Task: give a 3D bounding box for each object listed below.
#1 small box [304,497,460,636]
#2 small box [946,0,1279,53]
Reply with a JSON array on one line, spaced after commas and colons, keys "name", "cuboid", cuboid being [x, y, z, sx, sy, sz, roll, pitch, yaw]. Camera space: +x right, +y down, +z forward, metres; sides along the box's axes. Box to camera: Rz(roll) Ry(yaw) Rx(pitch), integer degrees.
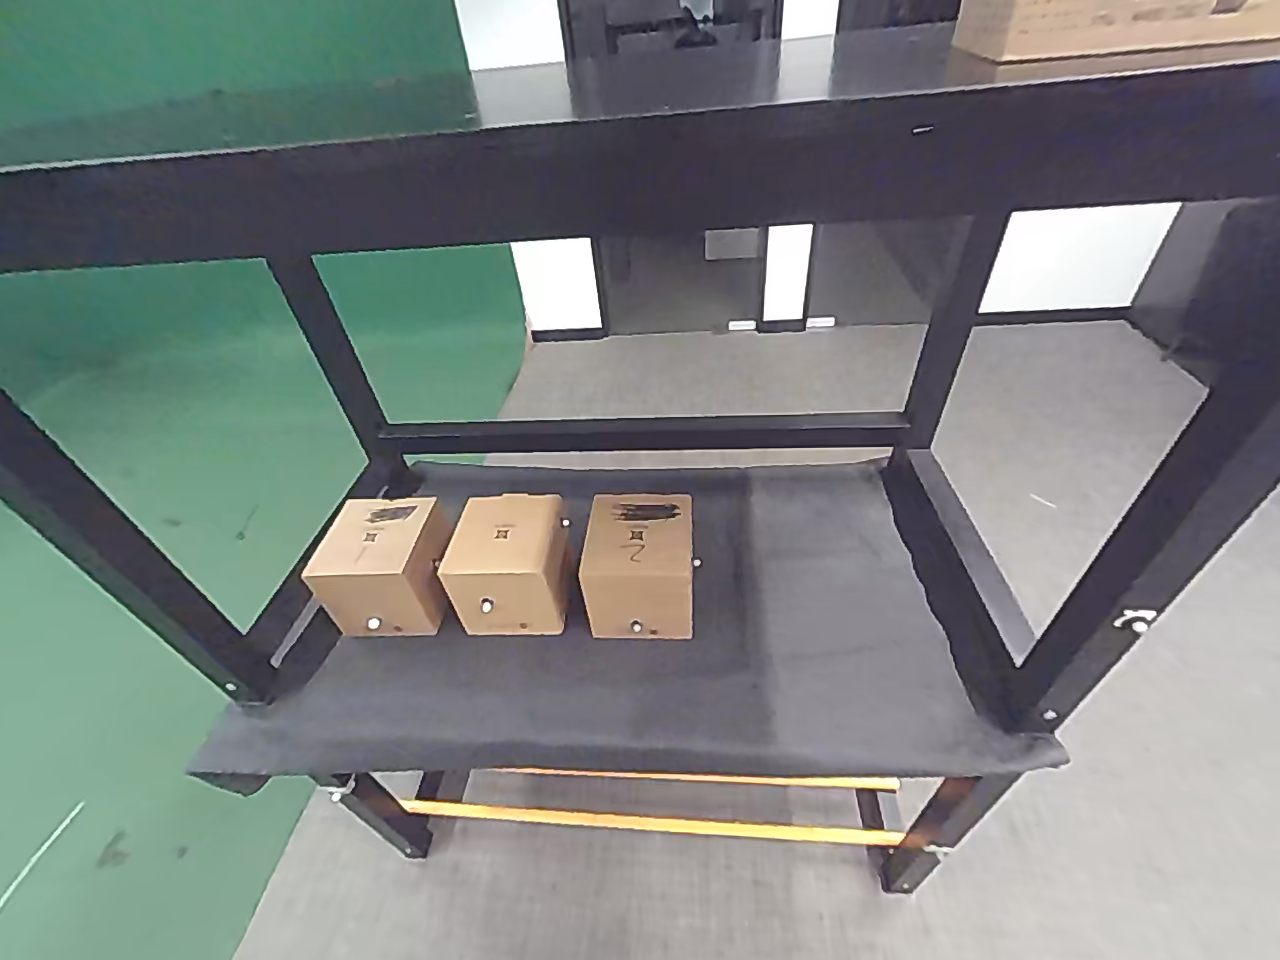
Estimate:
[{"name": "small box", "cuboid": [-0.432, 0.150, 0.945, 0.168, 0.176, 0.179, -2, 41, 5]}, {"name": "small box", "cuboid": [0.298, -0.361, 0.313, 0.168, 0.176, 0.179, 6, 41, 14]}]
